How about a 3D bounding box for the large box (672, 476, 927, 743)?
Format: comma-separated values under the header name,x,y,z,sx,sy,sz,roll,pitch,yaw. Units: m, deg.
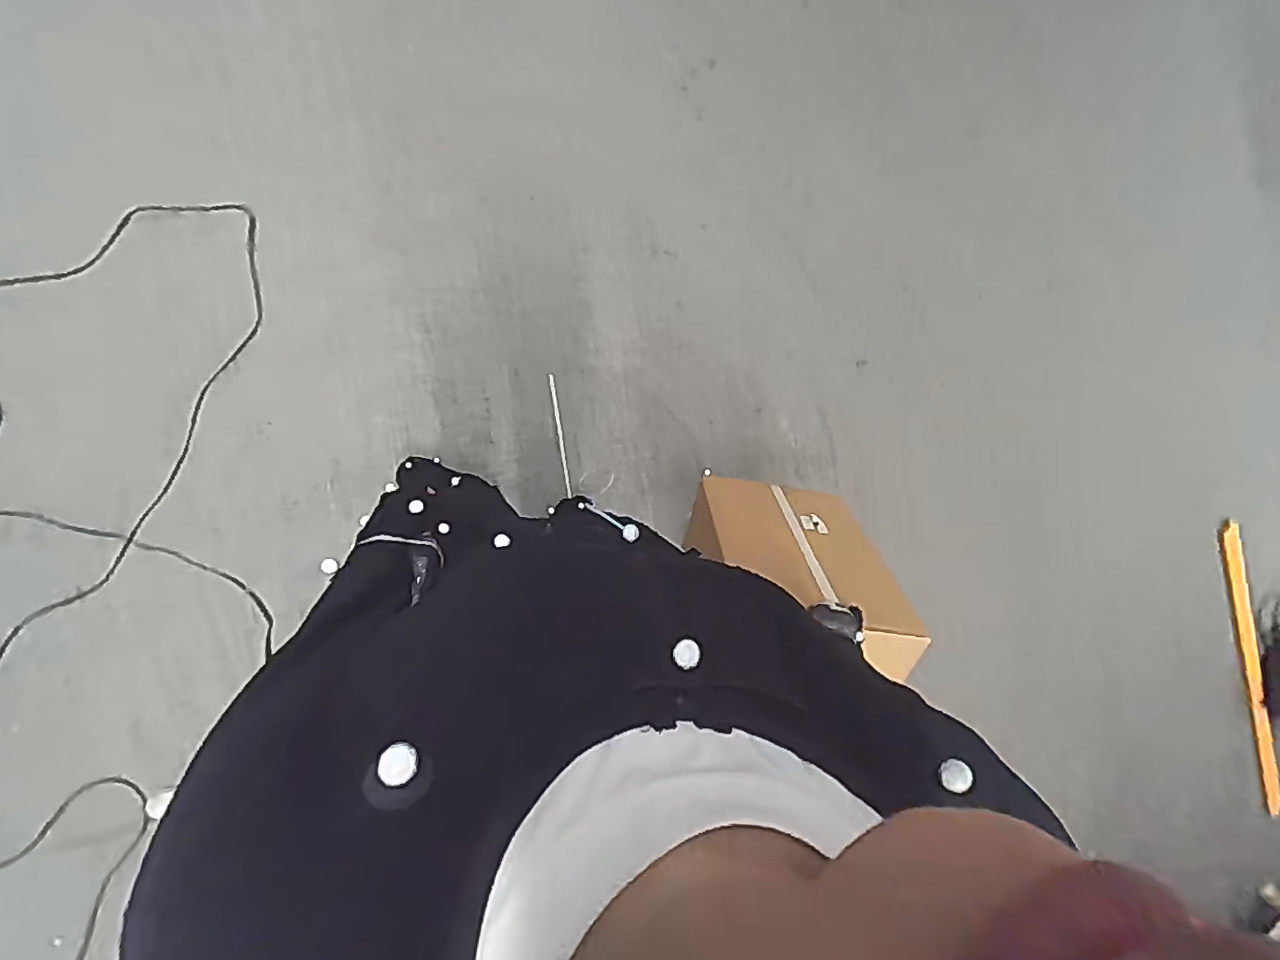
name,x,y,z,sx,sy,sz,roll,pitch,yaw
large box,0.260,0.239,1.054,0.320,0.408,0.320,9,120,-8
